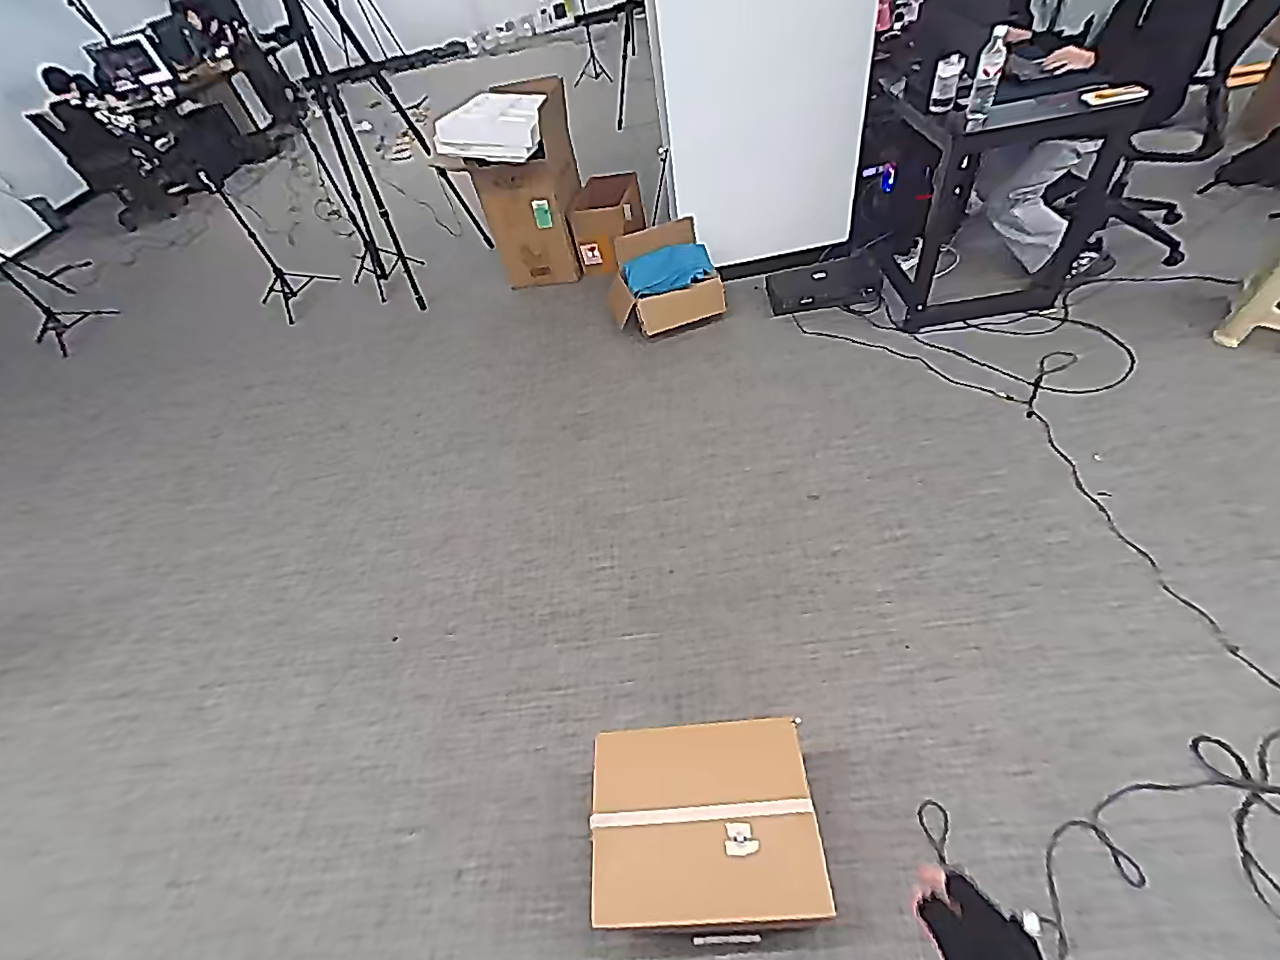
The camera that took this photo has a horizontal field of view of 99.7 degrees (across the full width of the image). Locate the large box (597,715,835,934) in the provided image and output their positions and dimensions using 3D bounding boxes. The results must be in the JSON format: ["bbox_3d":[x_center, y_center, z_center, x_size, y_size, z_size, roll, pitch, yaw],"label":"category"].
[{"bbox_3d":[0.137,0.707,1.101,0.408,0.320,0.320,-7,48,5],"label":"large box"}]
